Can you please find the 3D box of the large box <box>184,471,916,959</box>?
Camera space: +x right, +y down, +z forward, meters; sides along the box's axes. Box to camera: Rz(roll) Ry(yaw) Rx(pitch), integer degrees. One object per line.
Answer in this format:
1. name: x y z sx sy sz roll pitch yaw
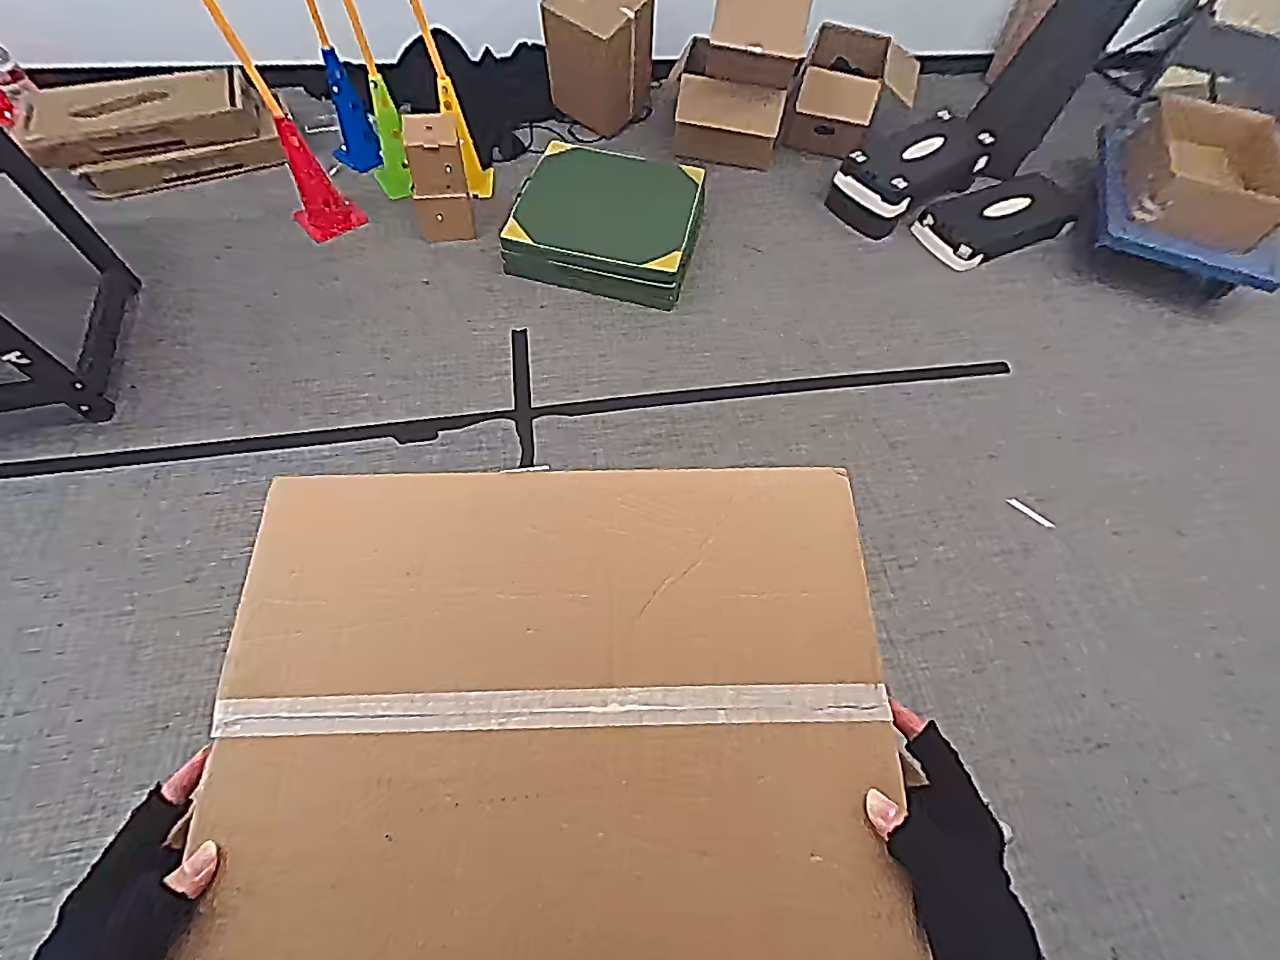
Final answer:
1. large box: -0.053 0.196 0.478 0.408 0.320 0.320 -1 69 0
